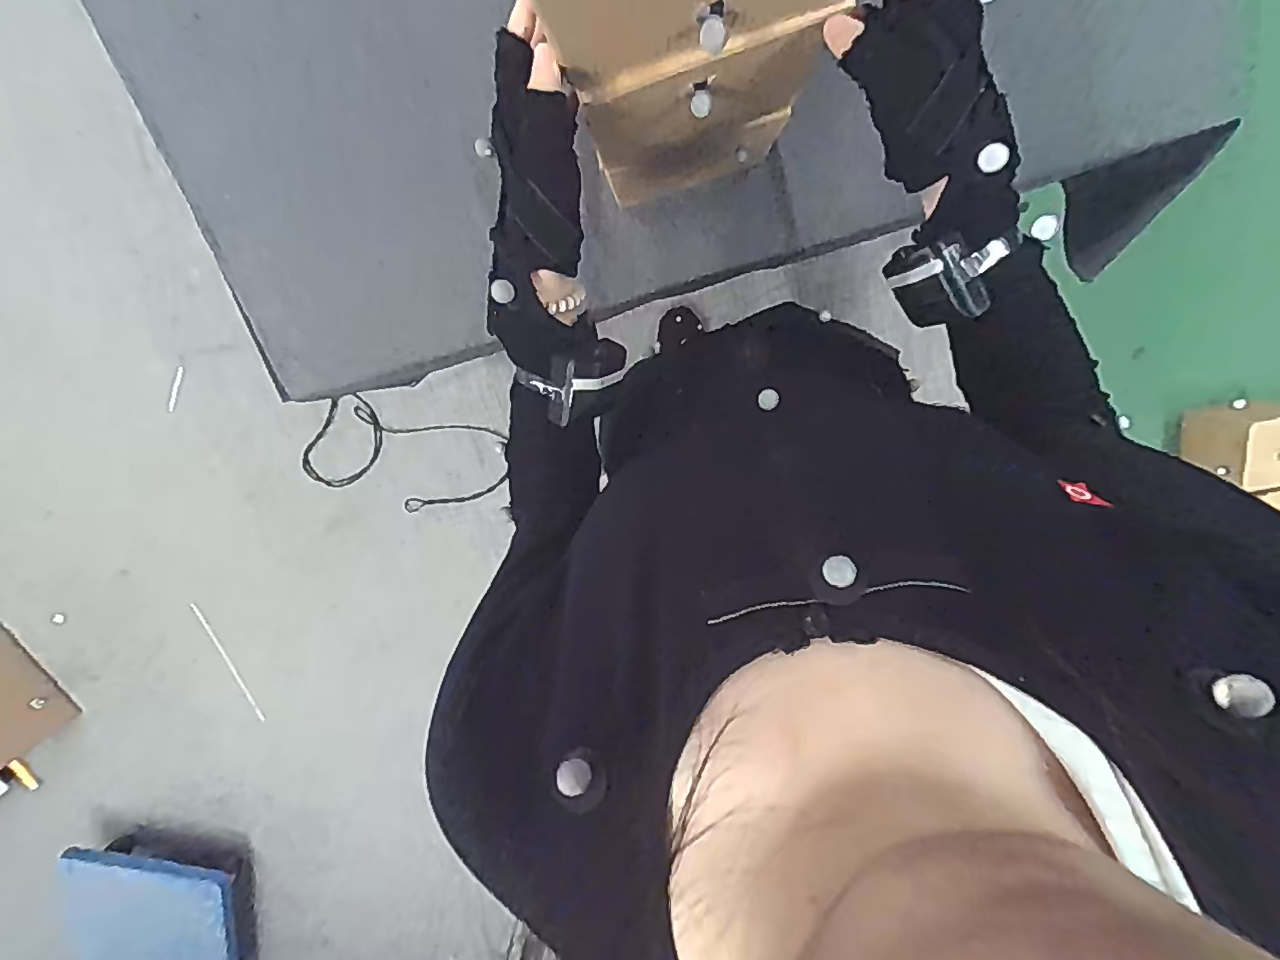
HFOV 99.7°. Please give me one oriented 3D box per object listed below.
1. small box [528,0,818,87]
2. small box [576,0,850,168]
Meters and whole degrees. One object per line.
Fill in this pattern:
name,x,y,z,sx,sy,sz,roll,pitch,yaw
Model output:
small box,0.014,-0.315,0.235,0.179,0.176,0.168,-13,106,6
small box,0.027,-0.358,0.392,0.179,0.176,0.168,-16,105,8
